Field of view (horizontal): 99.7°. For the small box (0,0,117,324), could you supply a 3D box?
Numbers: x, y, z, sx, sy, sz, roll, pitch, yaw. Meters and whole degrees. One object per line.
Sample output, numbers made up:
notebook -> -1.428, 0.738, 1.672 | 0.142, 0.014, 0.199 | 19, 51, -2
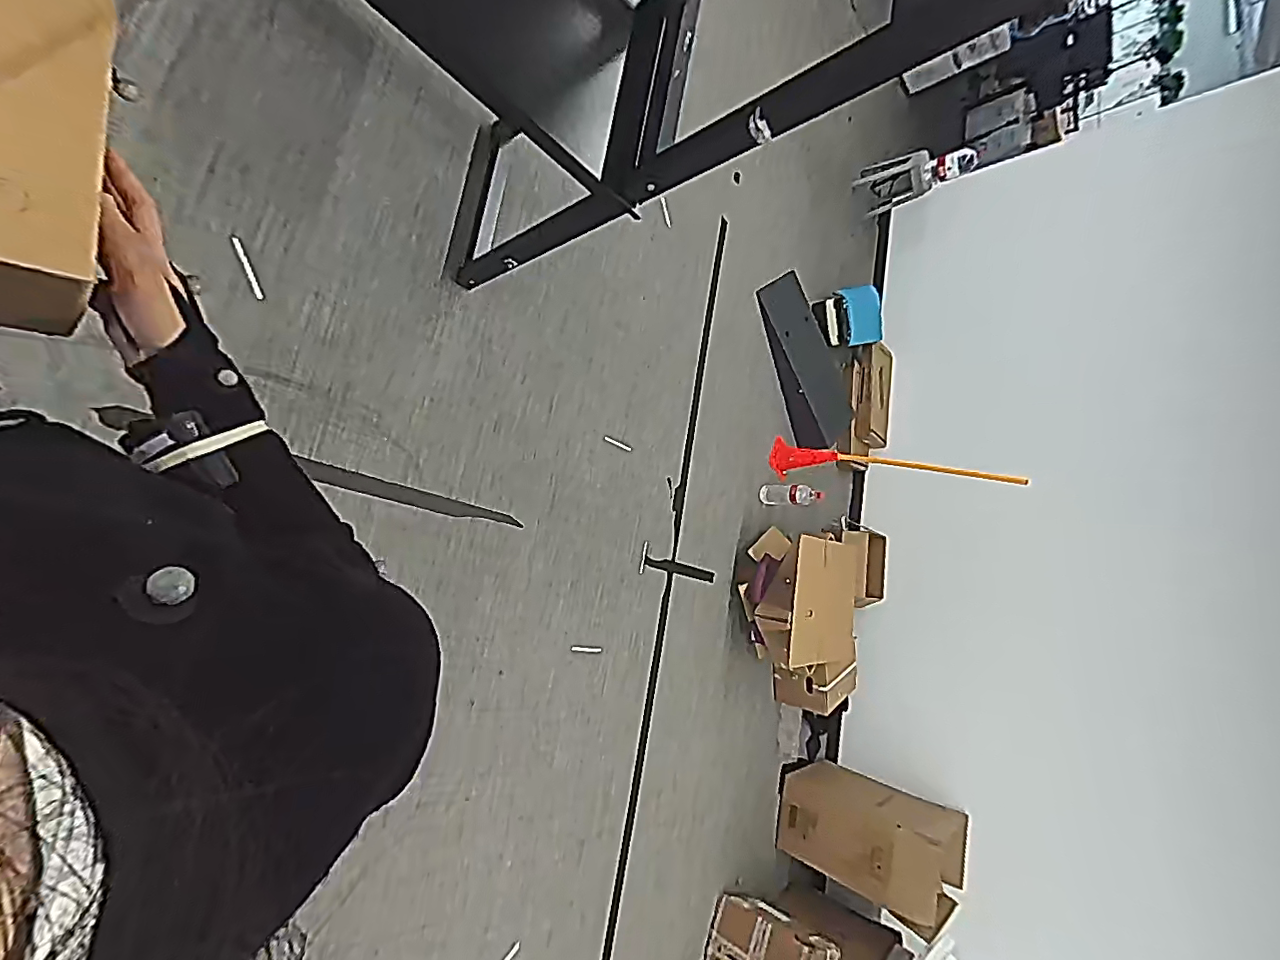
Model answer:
small box -> -0.412, -0.200, 0.293 | 0.168, 0.176, 0.179 | 4, 85, -50
